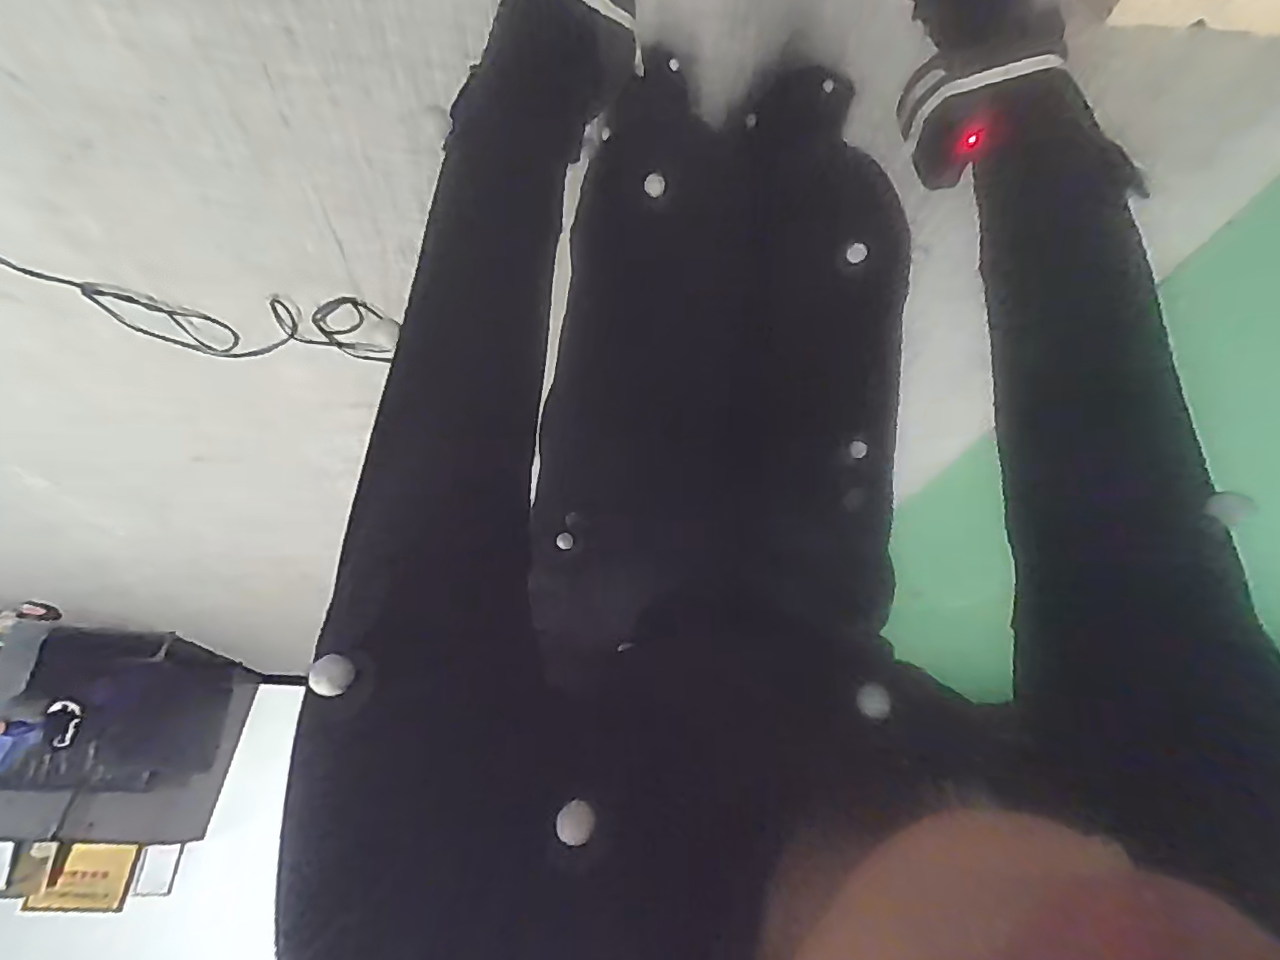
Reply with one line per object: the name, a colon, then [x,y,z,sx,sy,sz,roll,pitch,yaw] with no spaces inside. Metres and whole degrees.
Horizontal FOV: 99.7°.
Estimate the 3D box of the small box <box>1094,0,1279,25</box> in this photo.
small box: [0.491,-0.518,0.441,0.168,0.176,0.179,2,148,-1]
